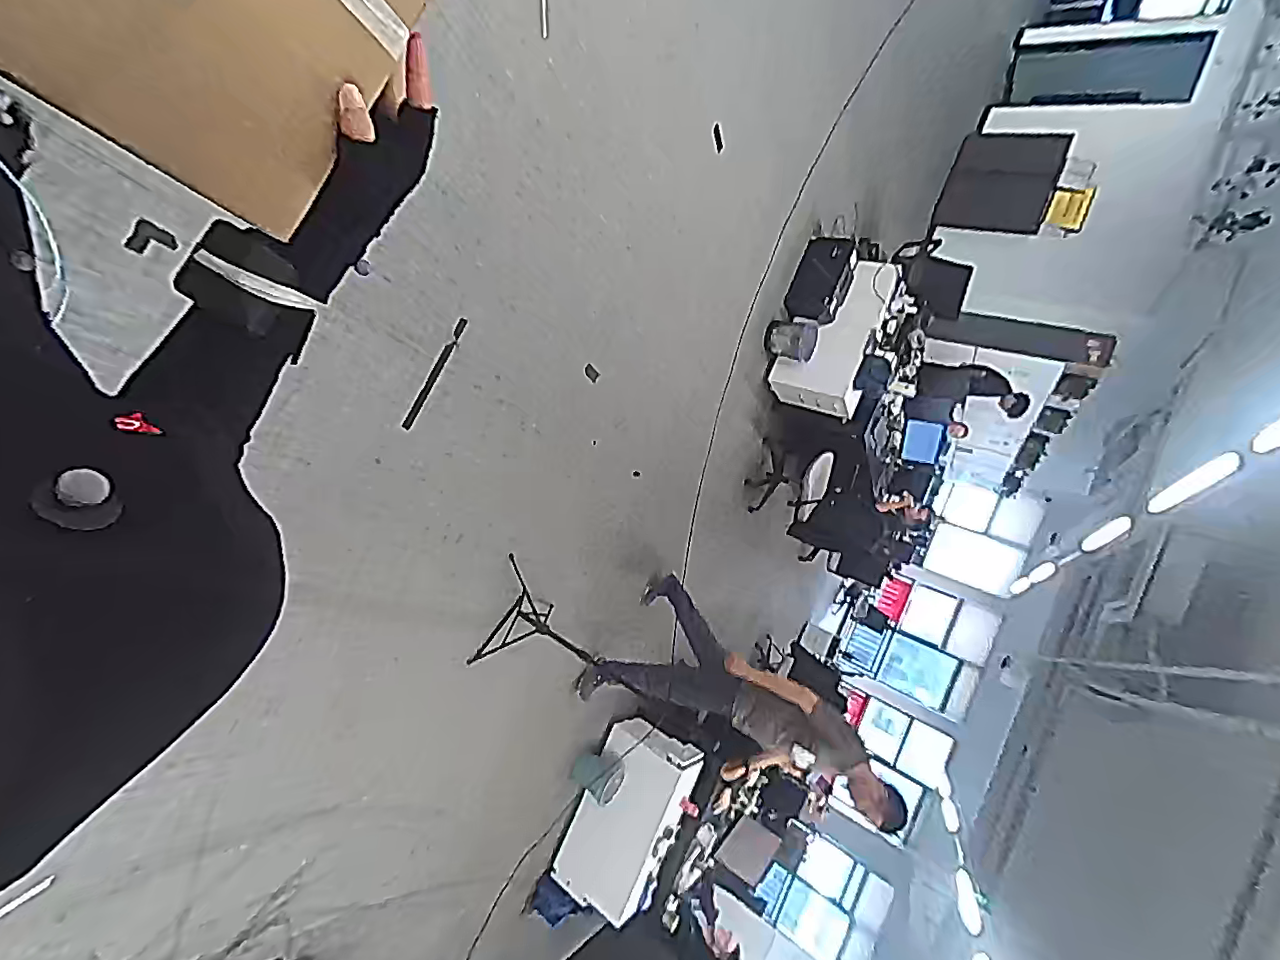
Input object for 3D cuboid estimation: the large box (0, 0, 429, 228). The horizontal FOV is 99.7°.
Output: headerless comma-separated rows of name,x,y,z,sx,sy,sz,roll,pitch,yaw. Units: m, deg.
large box,-0.370,-0.426,0.295,0.320,0.320,0.408,-56,148,3
